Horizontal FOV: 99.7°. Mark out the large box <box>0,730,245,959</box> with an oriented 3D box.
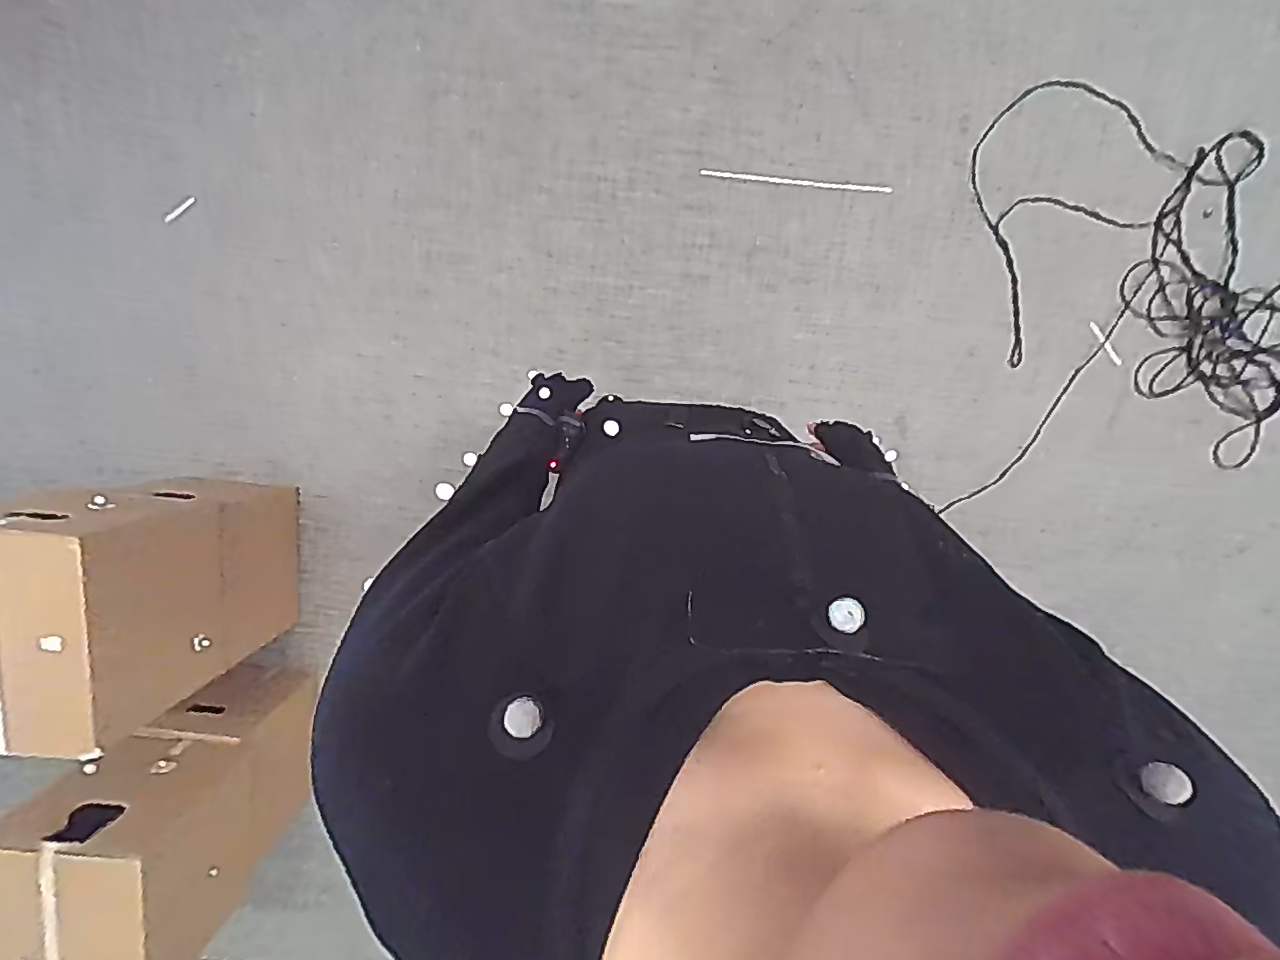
[{"bbox_3d":[-1.093,0.805,1.142,0.320,0.320,0.408,8,101,-3],"label":"large box"}]
